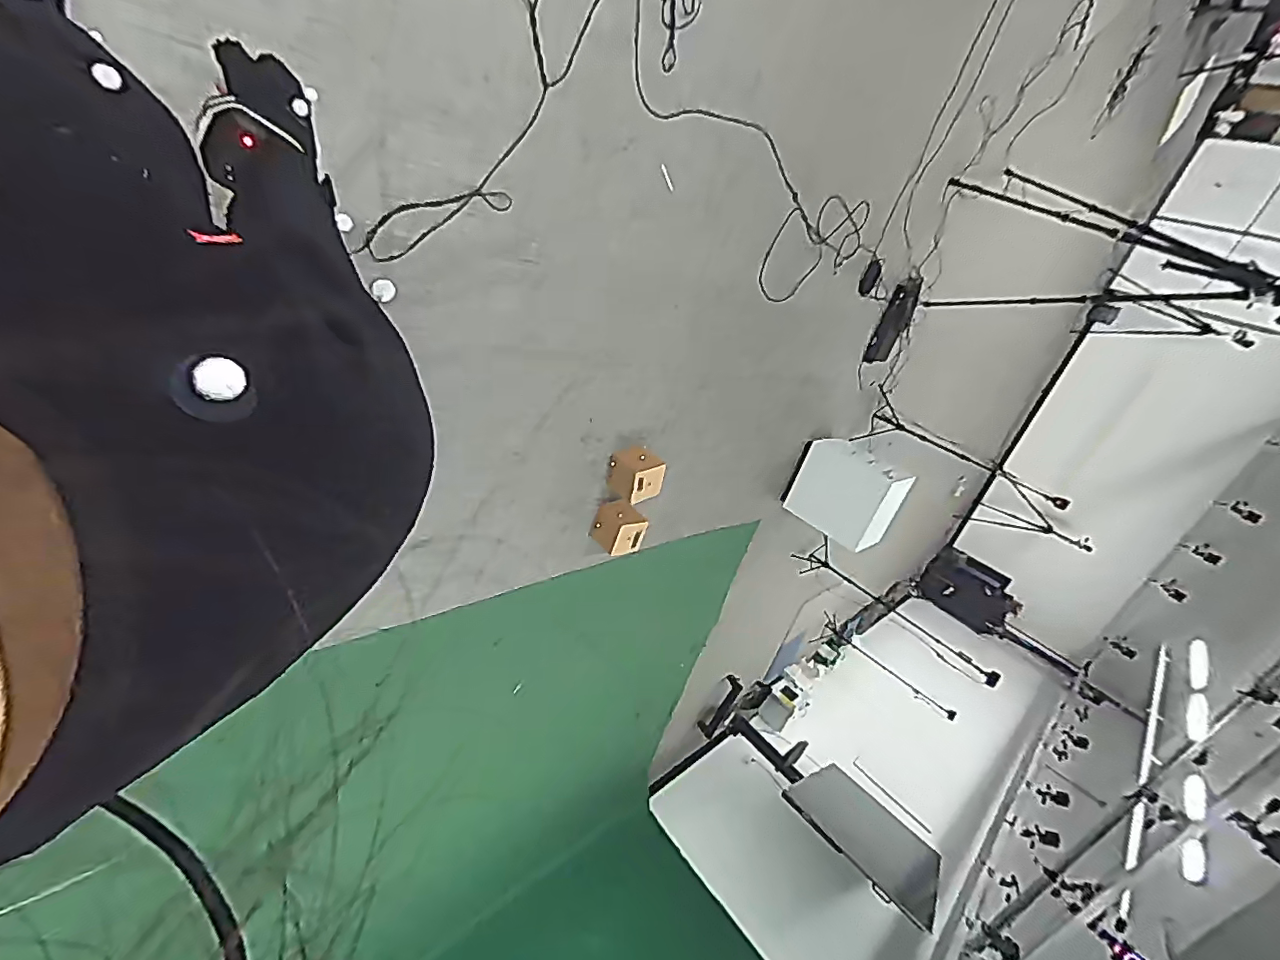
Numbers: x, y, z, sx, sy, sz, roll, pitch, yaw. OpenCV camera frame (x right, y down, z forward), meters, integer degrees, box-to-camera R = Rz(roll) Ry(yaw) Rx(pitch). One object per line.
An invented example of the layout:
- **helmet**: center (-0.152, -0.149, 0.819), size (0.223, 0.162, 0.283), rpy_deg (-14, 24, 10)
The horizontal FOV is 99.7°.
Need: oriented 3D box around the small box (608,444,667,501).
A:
- **small box**: center (-0.016, -0.036, 2.331), size (0.179, 0.176, 0.168), rpy_deg (-18, 133, -39)
